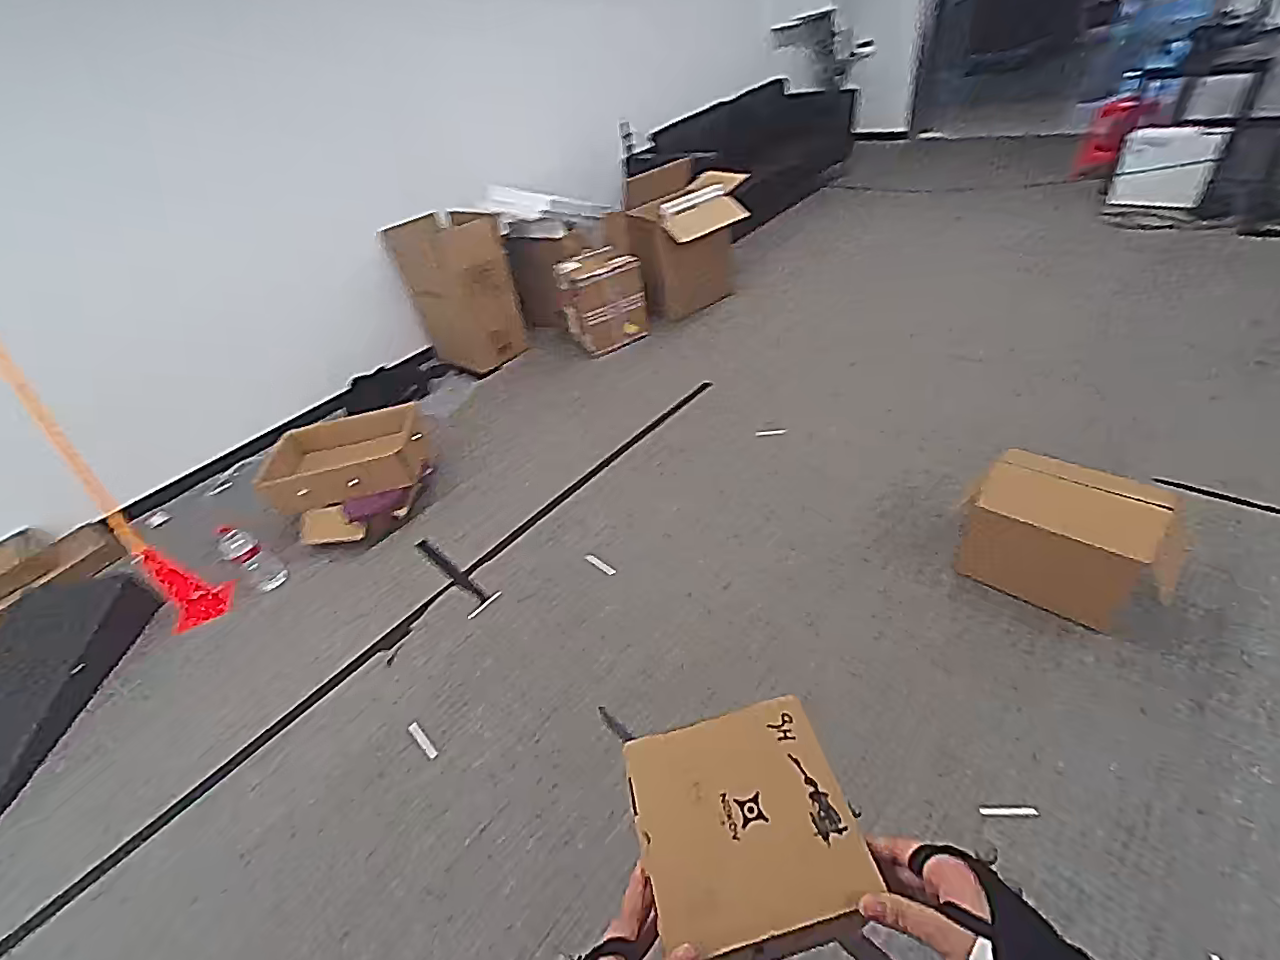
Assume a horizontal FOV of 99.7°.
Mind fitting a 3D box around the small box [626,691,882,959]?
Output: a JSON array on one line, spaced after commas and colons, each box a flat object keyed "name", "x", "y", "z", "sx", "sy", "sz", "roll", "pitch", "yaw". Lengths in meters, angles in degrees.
[{"name": "small box", "x": 0.097, "y": 0.334, "z": 0.512, "sx": 0.179, "sy": 0.176, "sz": 0.168, "roll": -14, "pitch": 43, "yaw": -3}]
